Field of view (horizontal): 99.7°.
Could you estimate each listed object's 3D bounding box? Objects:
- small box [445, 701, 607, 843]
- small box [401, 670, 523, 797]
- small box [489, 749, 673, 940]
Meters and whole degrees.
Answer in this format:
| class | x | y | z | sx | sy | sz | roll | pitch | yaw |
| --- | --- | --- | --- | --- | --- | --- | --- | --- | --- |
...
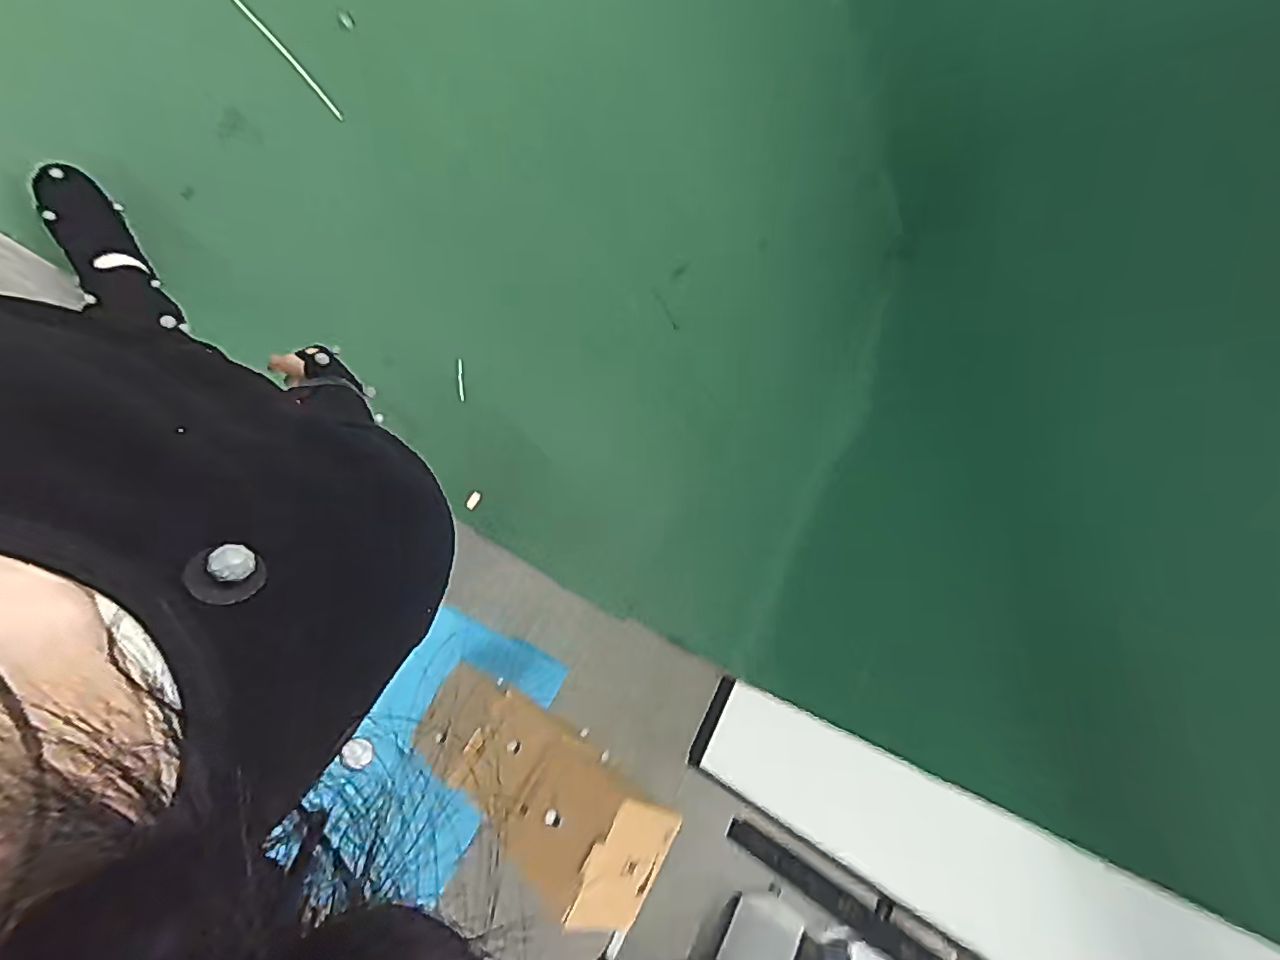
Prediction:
| class | x | y | z | sx | sy | sz | roll | pitch | yaw |
| --- | --- | --- | --- | --- | --- | --- | --- | --- | --- |
| small box | -0.196 | 0.506 | 0.926 | 0.168 | 0.176 | 0.179 | -57 | 134 | -19 |
| small box | -0.316 | 0.488 | 1.033 | 0.168 | 0.176 | 0.179 | -57 | 134 | -18 |
| small box | -0.089 | 0.532 | 0.805 | 0.168 | 0.176 | 0.179 | -57 | 133 | -19 |
